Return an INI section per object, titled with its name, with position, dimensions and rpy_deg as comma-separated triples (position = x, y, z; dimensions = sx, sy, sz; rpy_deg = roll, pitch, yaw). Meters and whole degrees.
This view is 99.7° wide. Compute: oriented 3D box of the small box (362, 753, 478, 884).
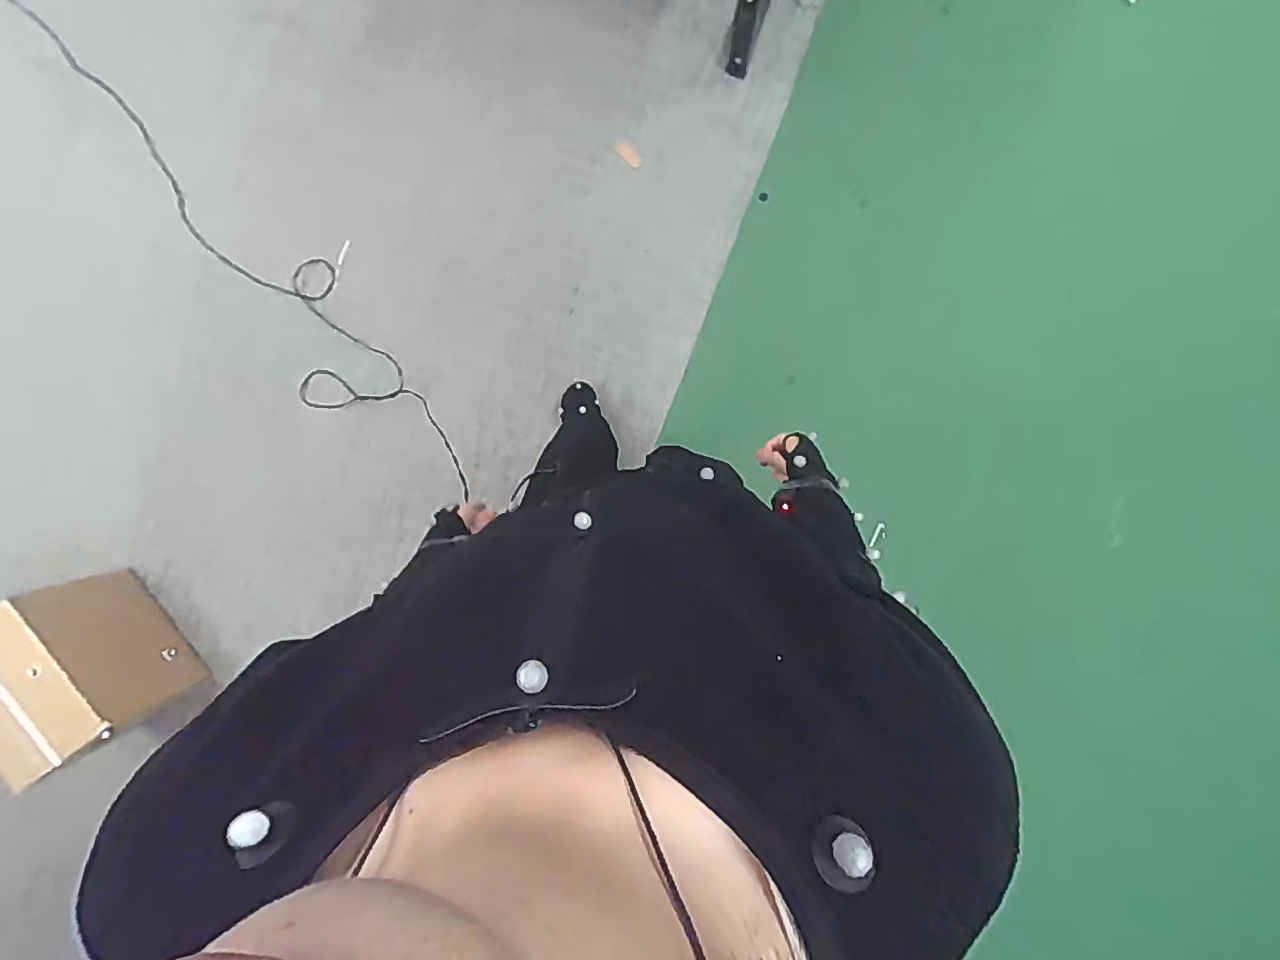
[small box]
position = -0.474, 0.733, 1.190
dimensions = 0.179, 0.176, 0.168
rpy_deg = 10, 93, 2
